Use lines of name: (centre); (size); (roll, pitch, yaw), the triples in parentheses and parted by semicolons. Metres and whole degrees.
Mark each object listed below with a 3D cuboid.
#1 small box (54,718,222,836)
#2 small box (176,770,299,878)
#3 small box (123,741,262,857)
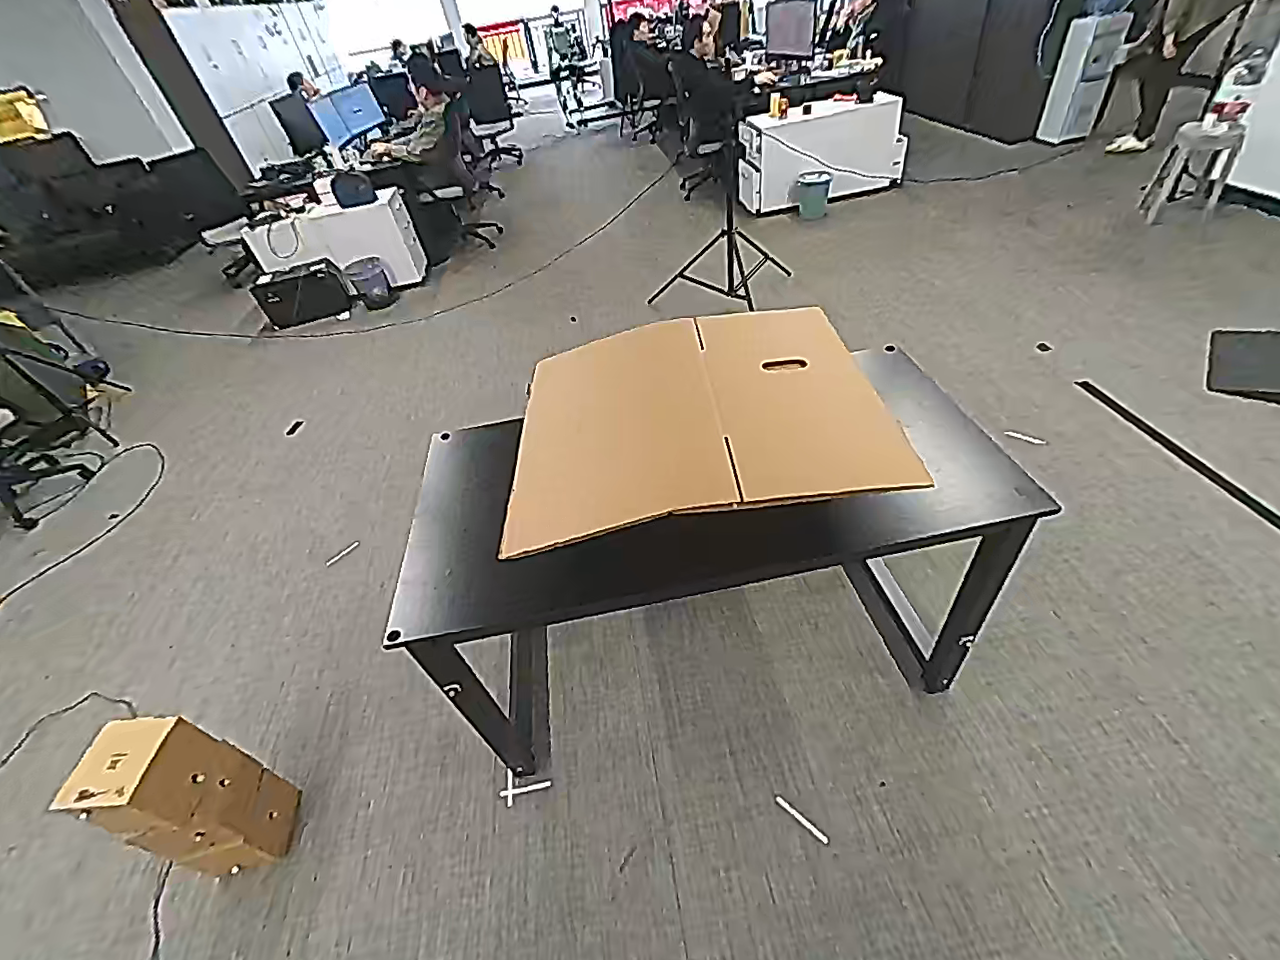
small box: (-1.058, 0.639, 1.165); (0.168, 0.176, 0.179); (-6, 42, 4)
small box: (-1.012, 0.879, 1.381); (0.168, 0.176, 0.179); (-14, 44, -3)
small box: (-1.038, 0.758, 1.276); (0.168, 0.176, 0.179); (-16, 42, -6)
